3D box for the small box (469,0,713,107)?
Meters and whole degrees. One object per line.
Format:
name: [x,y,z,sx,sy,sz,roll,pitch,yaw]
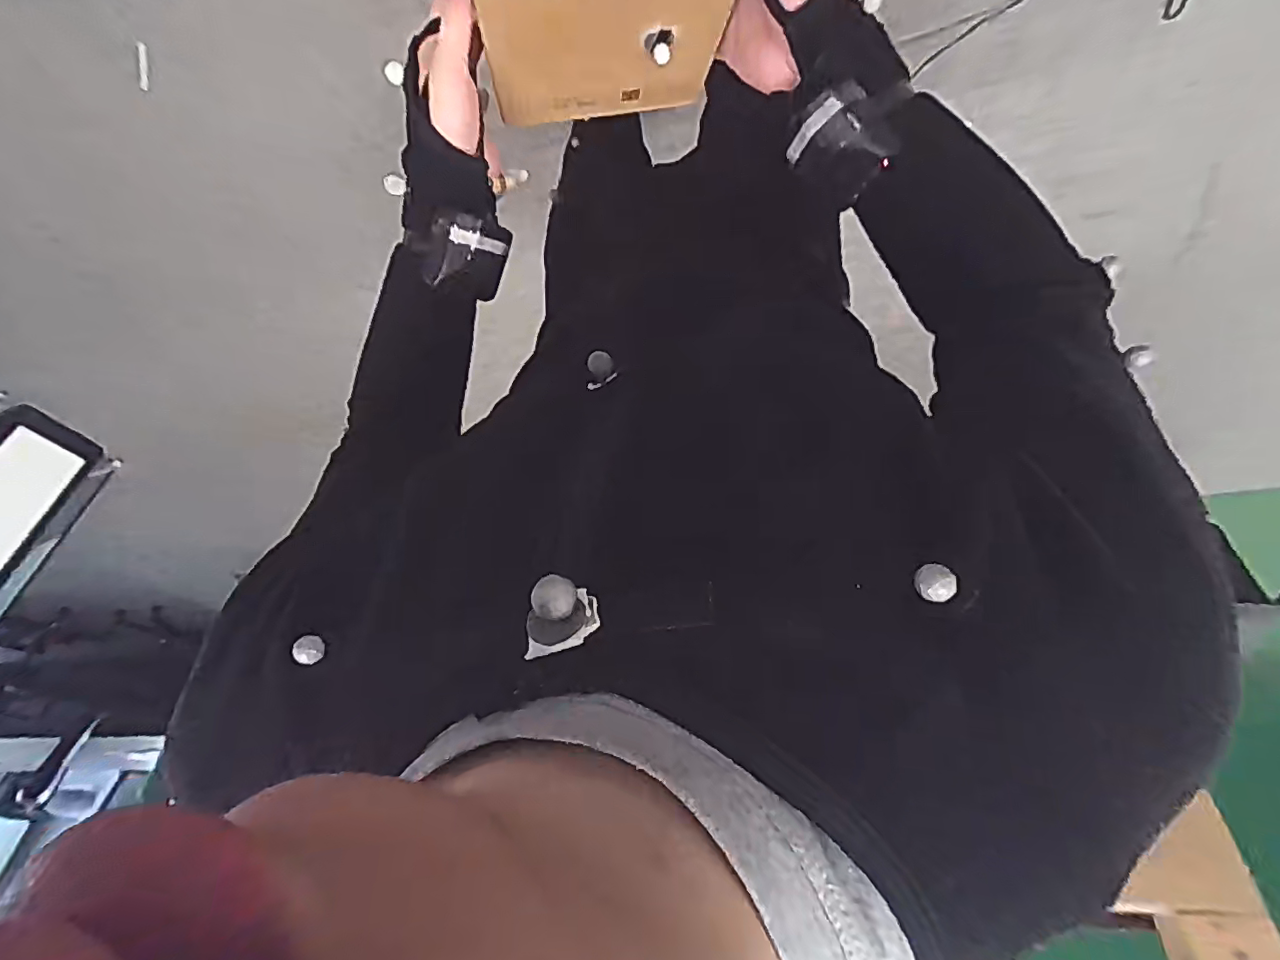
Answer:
small box: [-0.041,-0.387,0.366,0.168,0.179,0.176,-11,-174,-5]
